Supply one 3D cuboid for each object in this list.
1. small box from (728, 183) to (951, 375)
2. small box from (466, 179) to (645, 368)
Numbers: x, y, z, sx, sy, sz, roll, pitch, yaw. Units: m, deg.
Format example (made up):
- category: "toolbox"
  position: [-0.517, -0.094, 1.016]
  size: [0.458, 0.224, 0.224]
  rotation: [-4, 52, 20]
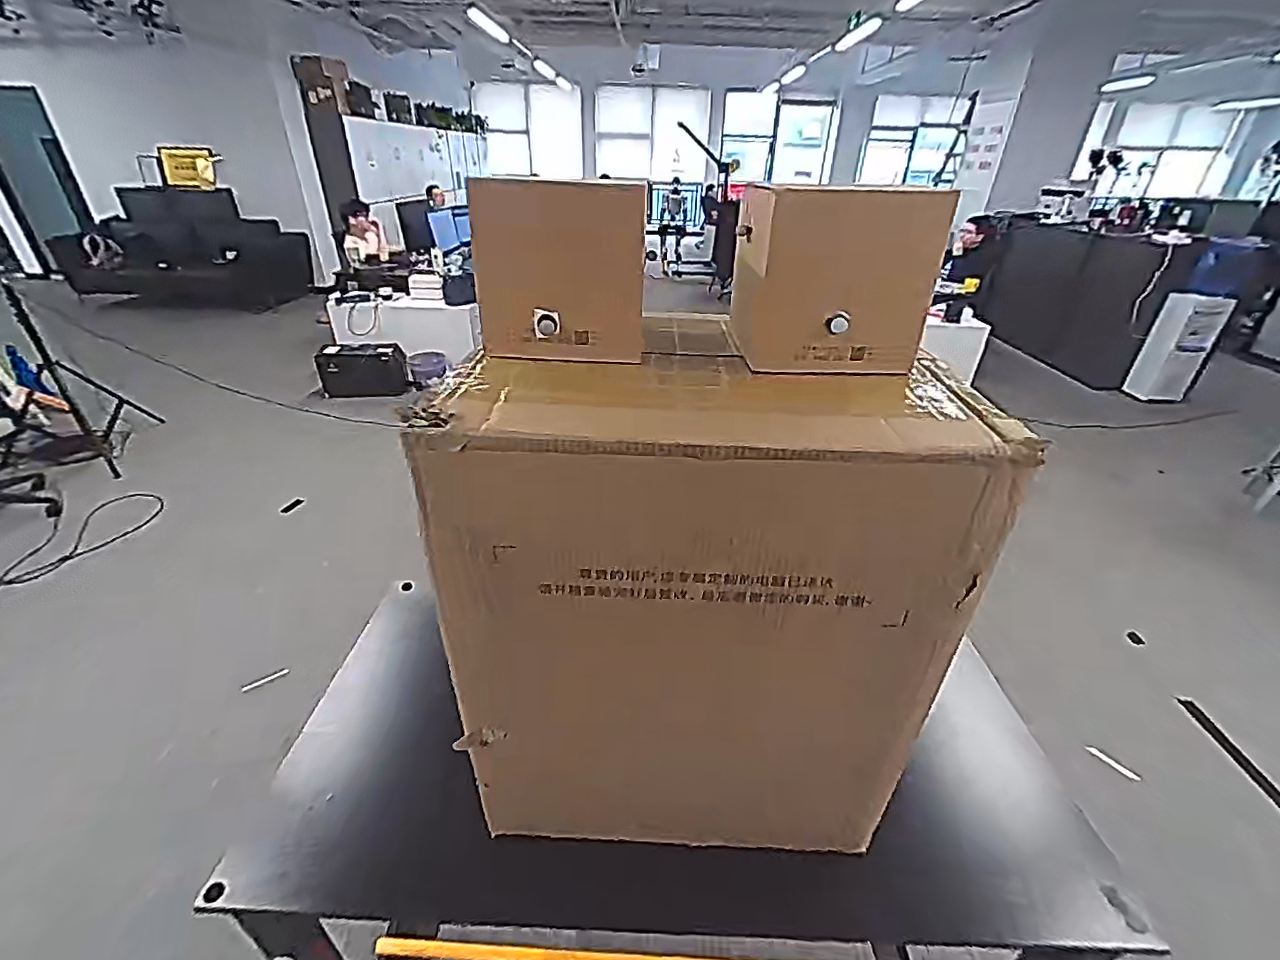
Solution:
- category: "small box"
  position: [0.192, -0.222, 0.586]
  size: [0.168, 0.176, 0.179]
  rotation: [0, 30, 0]
- category: "small box"
  position: [-0.080, -0.233, 0.599]
  size: [0.168, 0.176, 0.179]
  rotation: [0, 31, -1]
